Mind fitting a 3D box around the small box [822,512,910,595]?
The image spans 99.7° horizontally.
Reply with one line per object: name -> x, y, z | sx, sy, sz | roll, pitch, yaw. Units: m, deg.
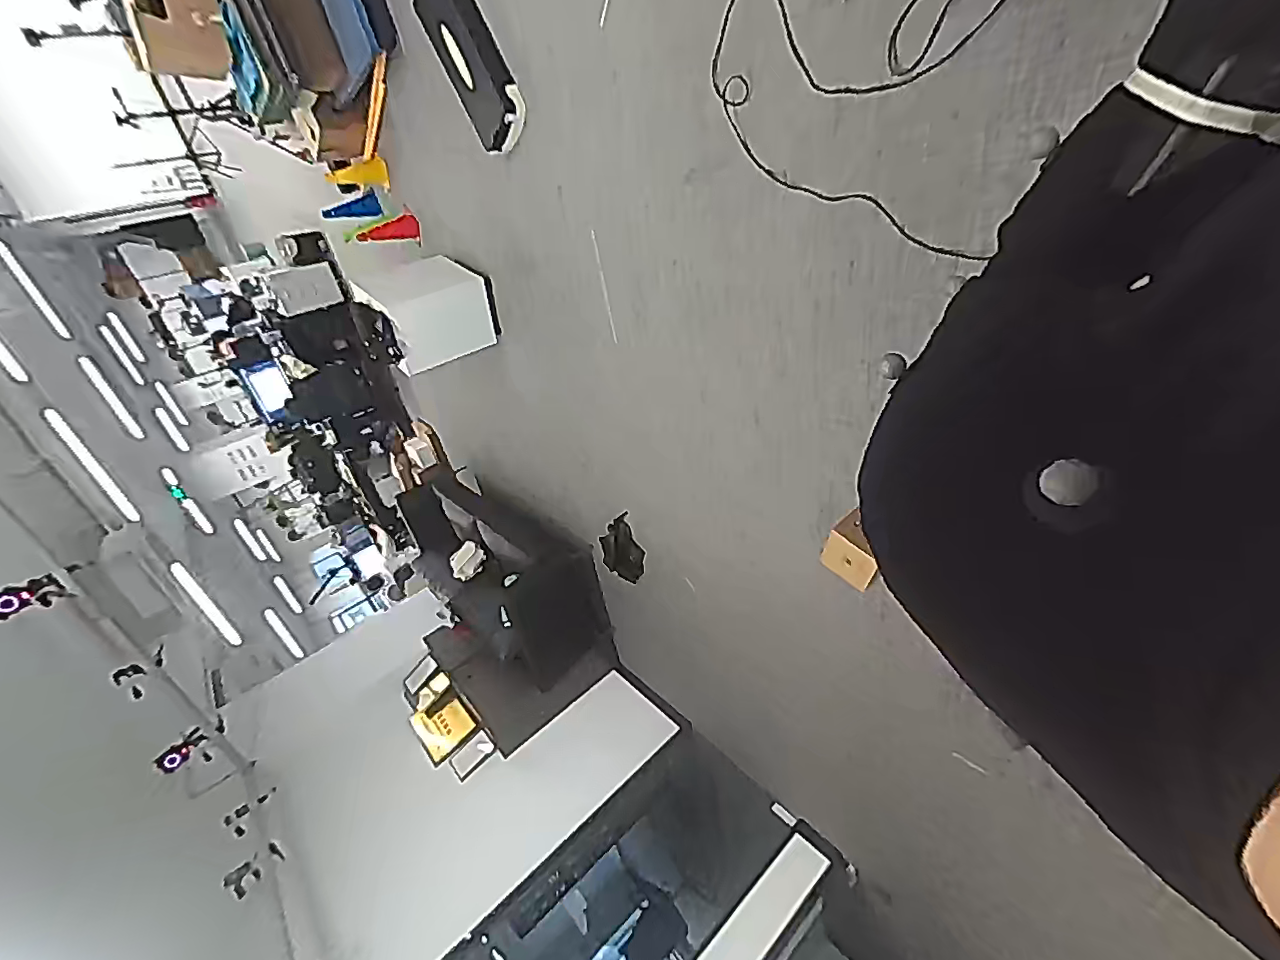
small box -> 0.726, 0.227, 1.742 | 0.179, 0.176, 0.168 | 38, 145, 31
